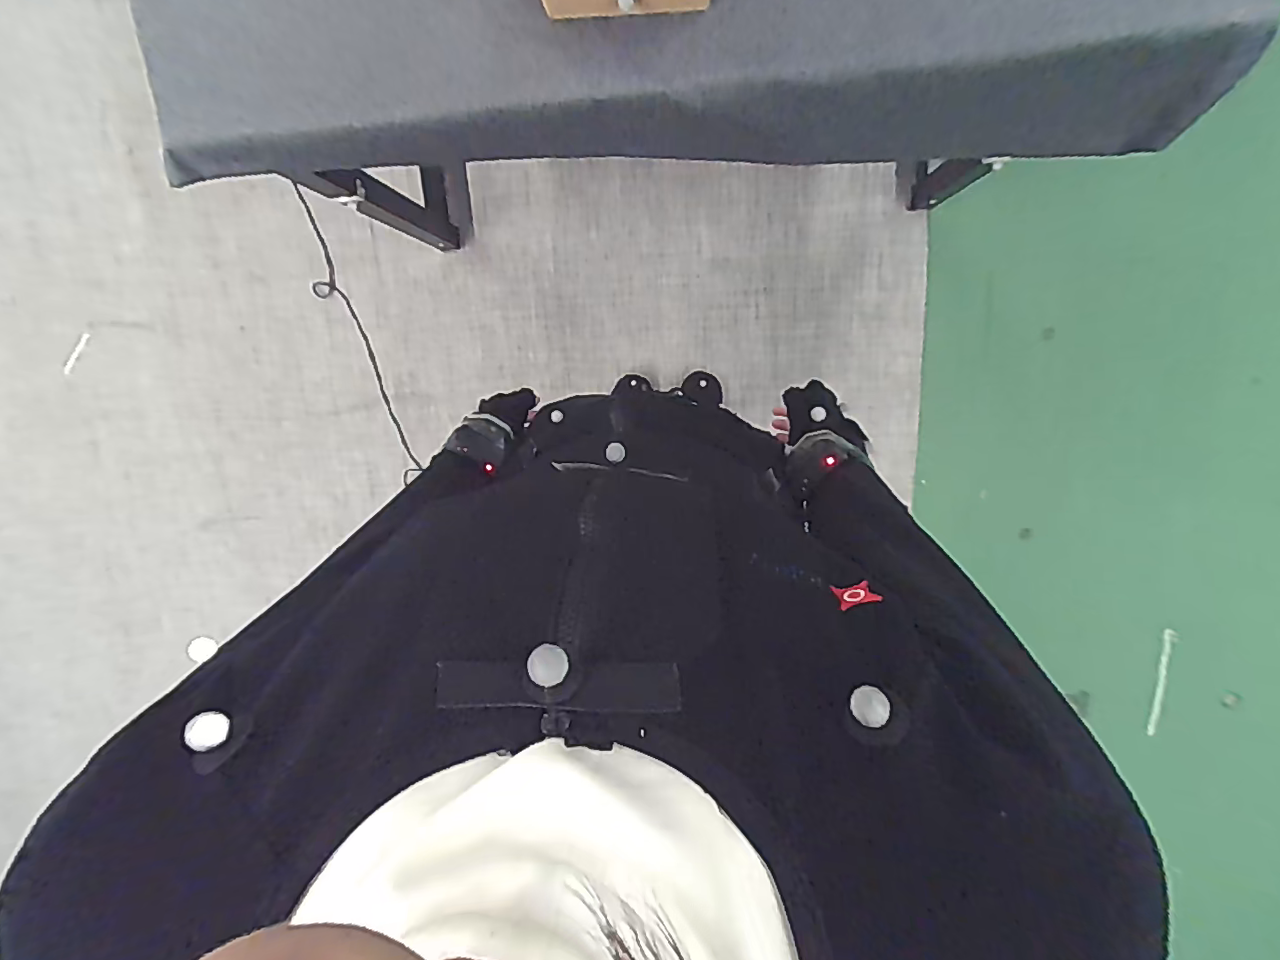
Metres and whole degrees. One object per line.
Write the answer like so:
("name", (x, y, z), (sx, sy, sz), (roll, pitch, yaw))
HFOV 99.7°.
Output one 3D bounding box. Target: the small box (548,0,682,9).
("small box", (-0.020, -0.573, 0.489), (0.179, 0.176, 0.168), (0, 102, 3))
